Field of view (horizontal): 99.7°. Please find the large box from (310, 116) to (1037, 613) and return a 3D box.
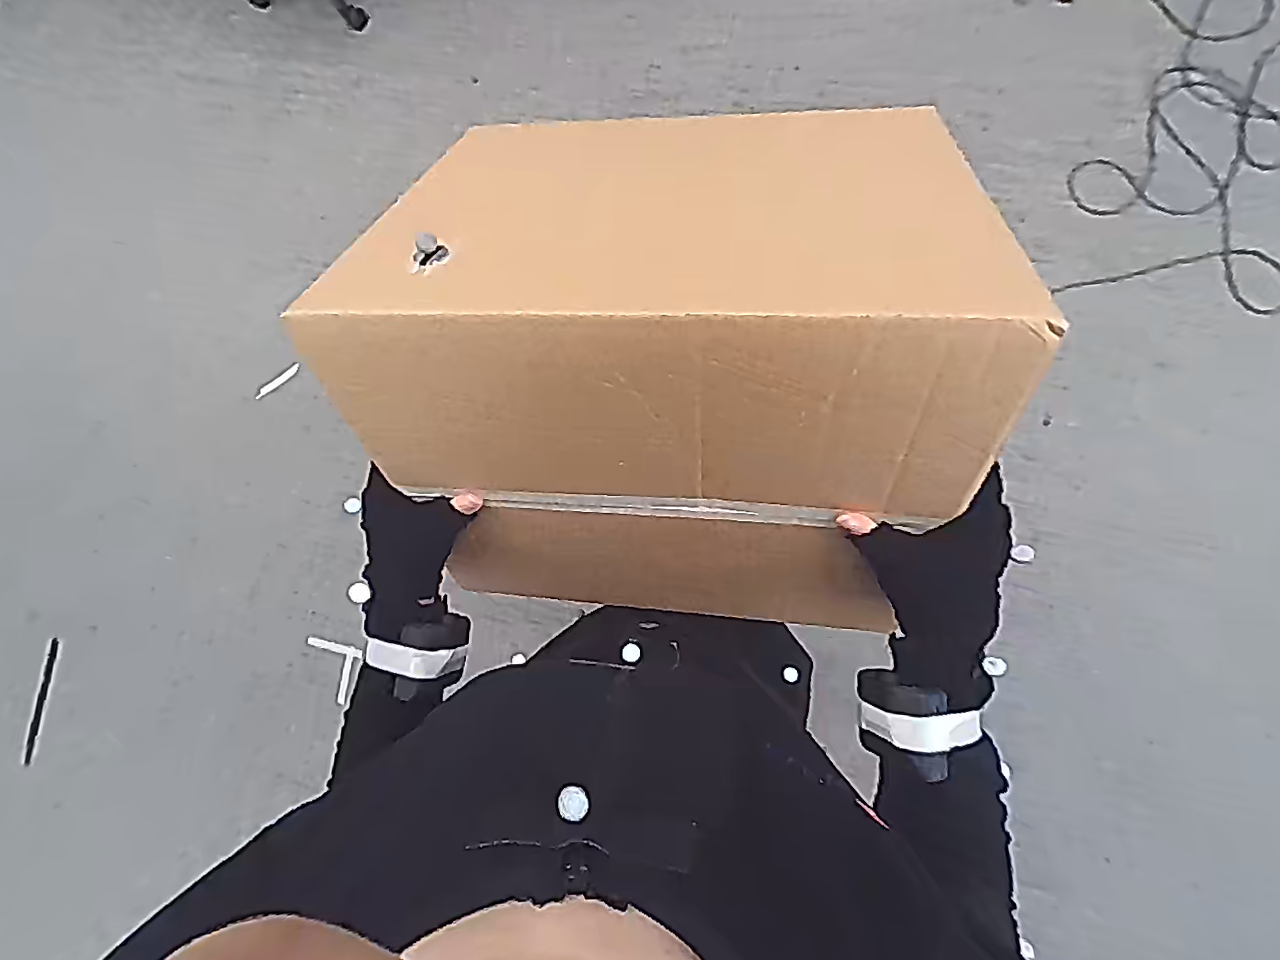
[{"bbox_3d":[0.028,-0.102,0.496,0.408,0.320,0.320,3,50,9],"label":"large box"}]
